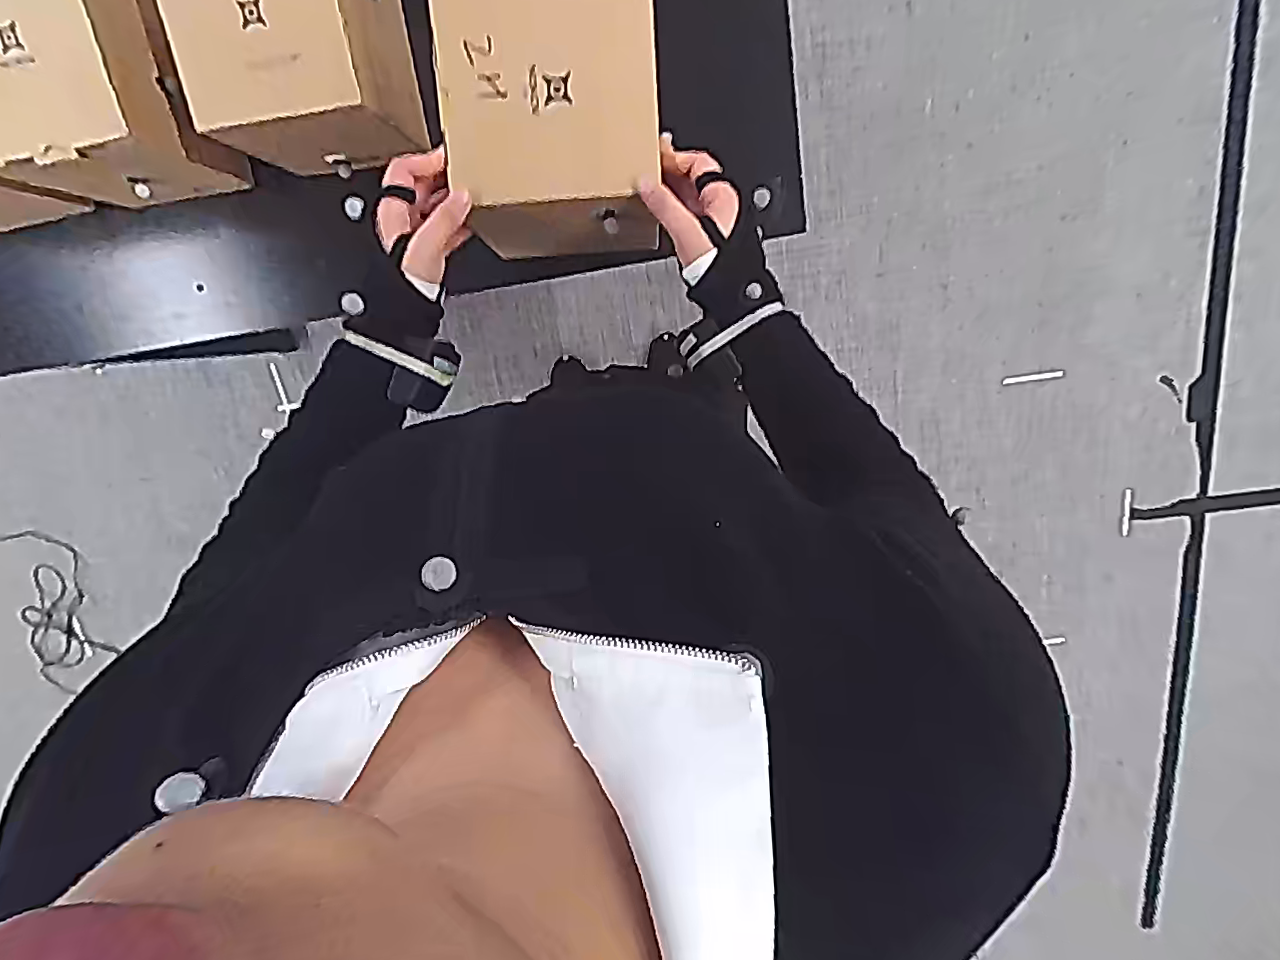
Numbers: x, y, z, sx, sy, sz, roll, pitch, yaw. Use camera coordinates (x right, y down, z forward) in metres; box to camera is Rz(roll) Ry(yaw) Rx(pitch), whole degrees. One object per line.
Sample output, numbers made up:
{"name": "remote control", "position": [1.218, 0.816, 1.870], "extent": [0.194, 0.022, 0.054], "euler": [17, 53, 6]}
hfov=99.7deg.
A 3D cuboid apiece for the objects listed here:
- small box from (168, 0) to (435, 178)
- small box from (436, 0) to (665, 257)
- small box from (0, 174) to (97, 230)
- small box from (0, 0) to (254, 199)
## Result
{"name": "small box", "position": [-0.340, -0.444, 0.567], "extent": [0.168, 0.176, 0.179], "euler": [-7, 106, 4]}
{"name": "small box", "position": [-0.070, -0.321, 0.514], "extent": [0.179, 0.176, 0.168], "euler": [-3, 99, 1]}
{"name": "small box", "position": [-0.776, -0.383, 0.588], "extent": [0.179, 0.176, 0.168], "euler": [-11, 105, 3]}
{"name": "small box", "position": [-0.564, -0.415, 0.577], "extent": [0.168, 0.176, 0.179], "euler": [-8, 105, 4]}
